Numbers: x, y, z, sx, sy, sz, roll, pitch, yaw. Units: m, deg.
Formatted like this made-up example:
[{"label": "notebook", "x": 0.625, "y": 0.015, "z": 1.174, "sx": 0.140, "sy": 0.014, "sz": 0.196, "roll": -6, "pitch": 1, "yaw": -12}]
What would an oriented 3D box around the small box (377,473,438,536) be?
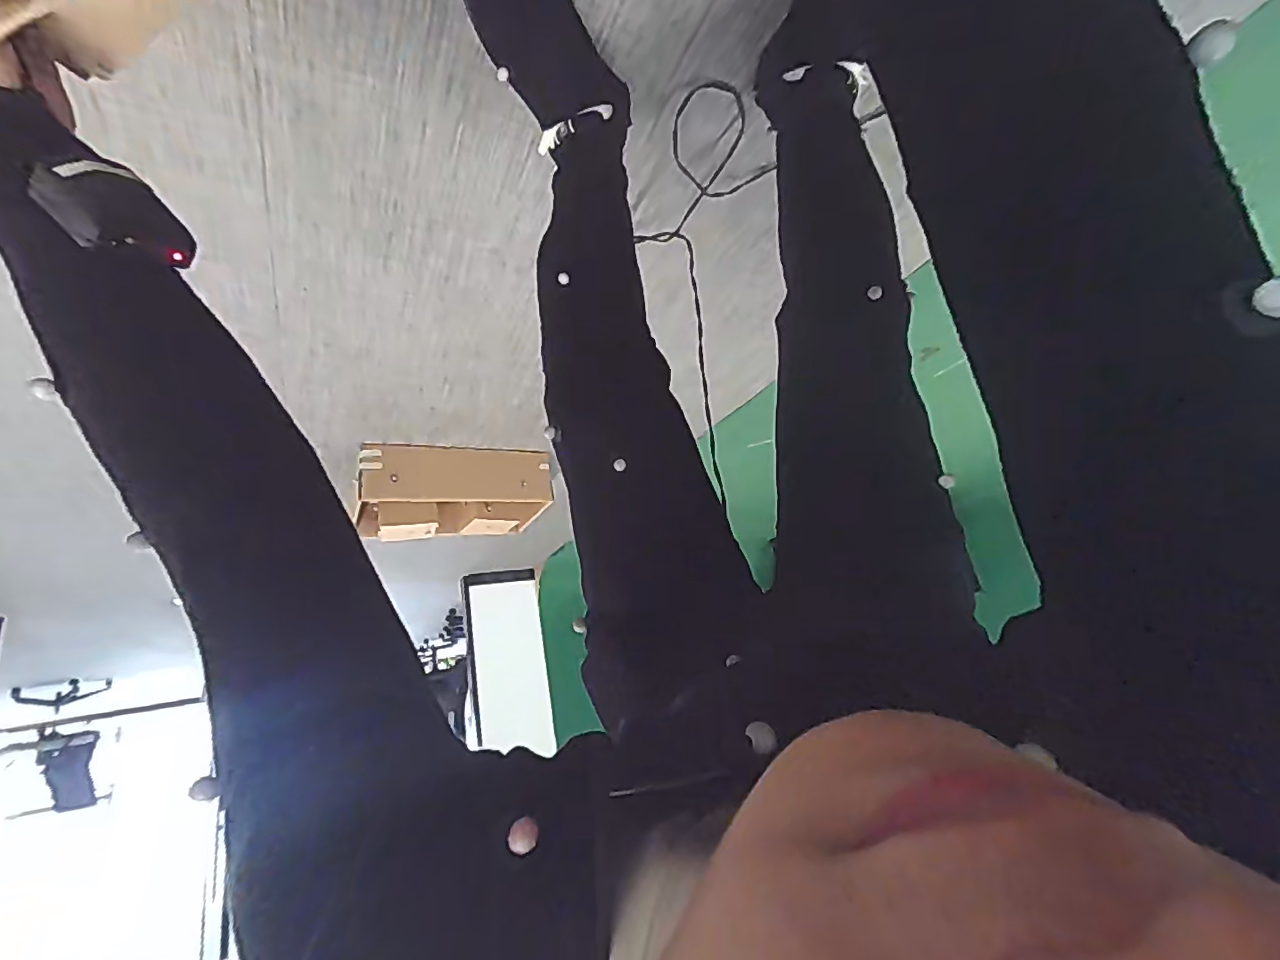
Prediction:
[{"label": "small box", "x": -0.792, "y": 0.082, "z": 1.830, "sx": 0.179, "sy": 0.176, "sz": 0.168, "roll": -2, "pitch": 159, "yaw": -28}]
